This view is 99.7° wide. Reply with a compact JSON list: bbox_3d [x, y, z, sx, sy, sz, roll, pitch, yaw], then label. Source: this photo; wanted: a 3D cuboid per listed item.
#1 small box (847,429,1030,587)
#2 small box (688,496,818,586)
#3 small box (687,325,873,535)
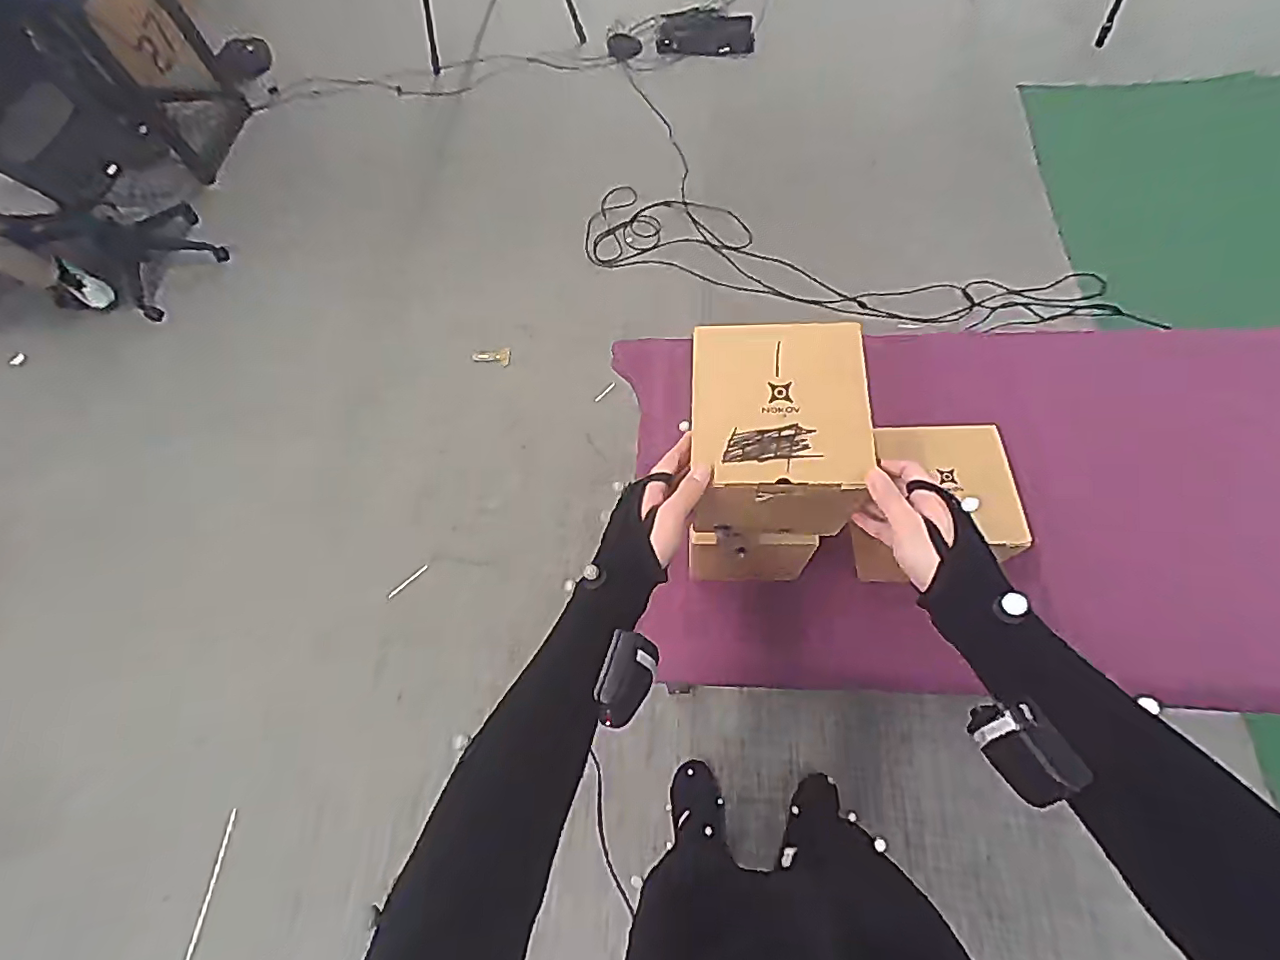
[{"bbox_3d":[0.405,0.044,0.776,0.168,0.176,0.179,-1,64,5],"label":"small box"},{"bbox_3d":[0.155,0.046,0.796,0.168,0.176,0.179,-1,63,6],"label":"small box"},{"bbox_3d":[0.139,-0.044,0.586,0.168,0.176,0.179,1,68,6],"label":"small box"}]
